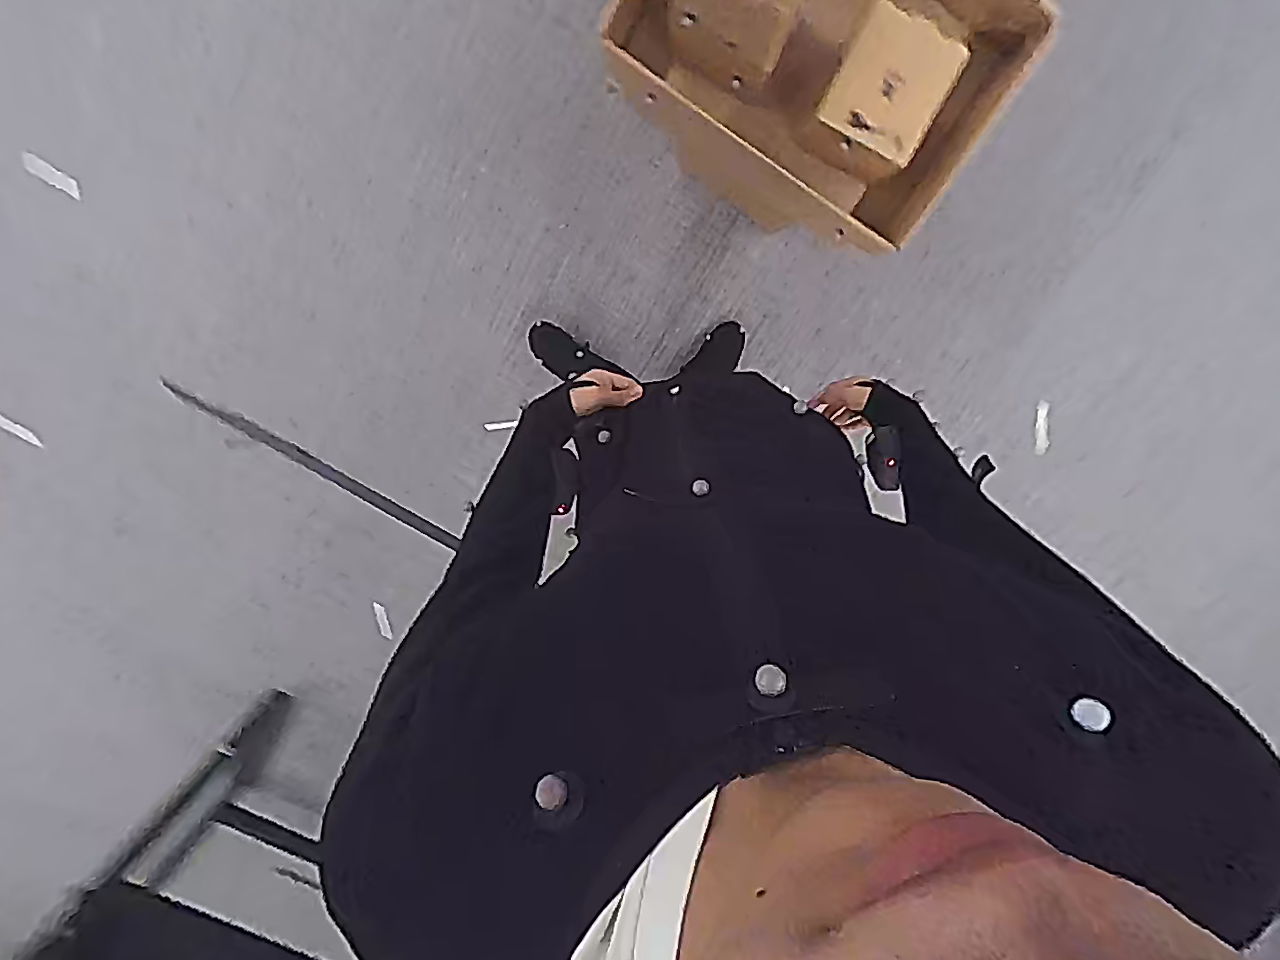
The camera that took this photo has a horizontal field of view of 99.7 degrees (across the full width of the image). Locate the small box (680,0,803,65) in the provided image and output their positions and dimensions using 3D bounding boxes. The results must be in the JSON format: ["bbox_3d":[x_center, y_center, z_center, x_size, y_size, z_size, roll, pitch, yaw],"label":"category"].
[{"bbox_3d":[0.159,-0.713,0.723,0.168,0.176,0.179,28,106,-7],"label":"small box"}]
